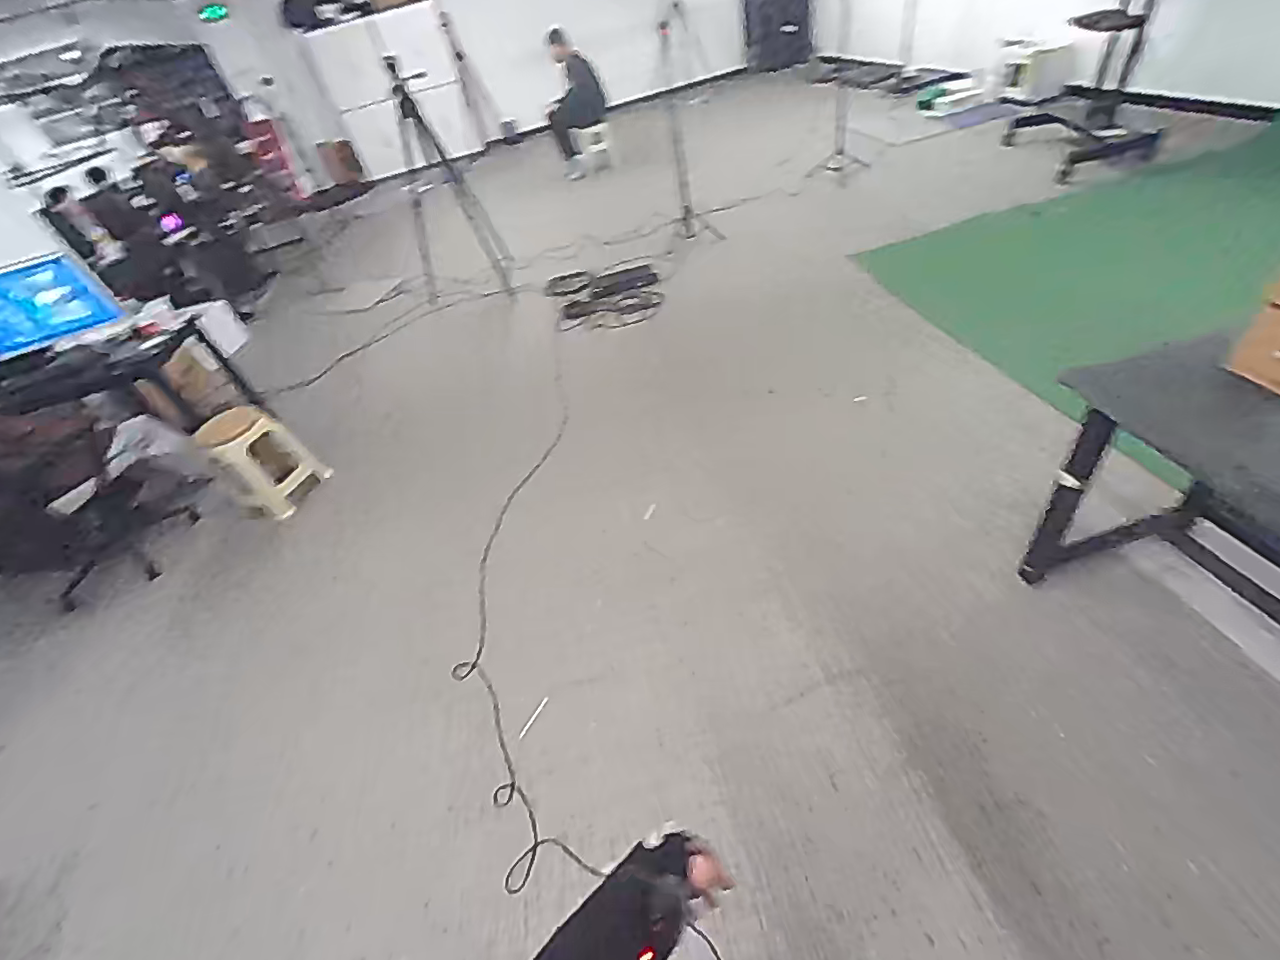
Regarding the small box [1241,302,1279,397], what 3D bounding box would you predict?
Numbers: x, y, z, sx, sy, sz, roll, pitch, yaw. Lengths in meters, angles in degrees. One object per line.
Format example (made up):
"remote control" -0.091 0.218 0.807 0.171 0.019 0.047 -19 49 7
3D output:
"small box" 1.332 -0.254 1.035 0.179 0.176 0.168 -17 43 0
